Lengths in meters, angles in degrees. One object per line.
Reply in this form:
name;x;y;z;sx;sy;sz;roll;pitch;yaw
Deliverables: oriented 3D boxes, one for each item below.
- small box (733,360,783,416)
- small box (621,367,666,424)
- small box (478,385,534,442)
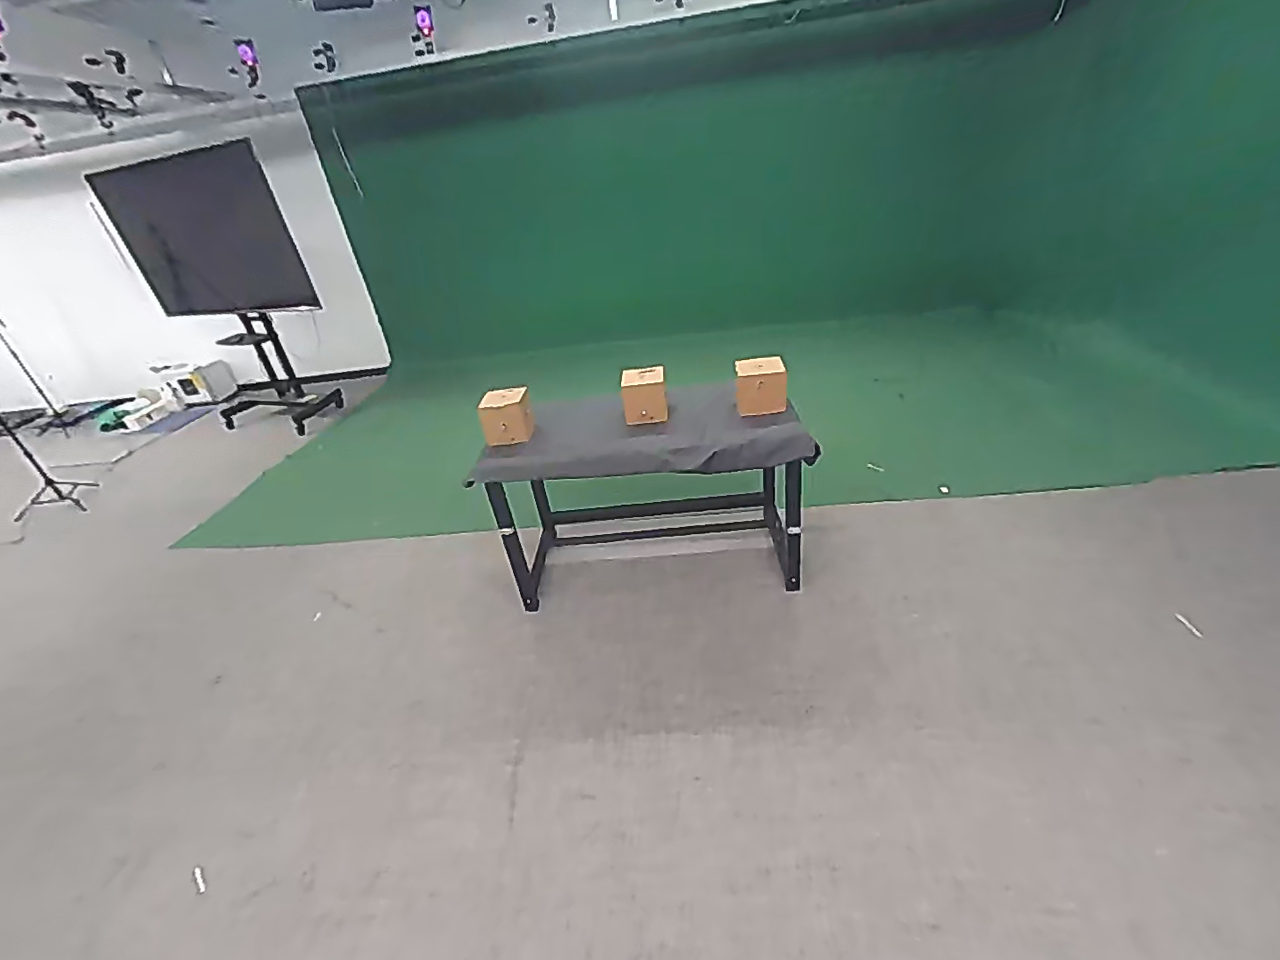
small box;0.458;-0.356;2.105;0.179;0.176;0.168;-3;32;6
small box;0.017;-0.339;2.174;0.168;0.176;0.179;-5;32;5
small box;-0.530;-0.261;2.164;0.168;0.176;0.179;-6;31;2
